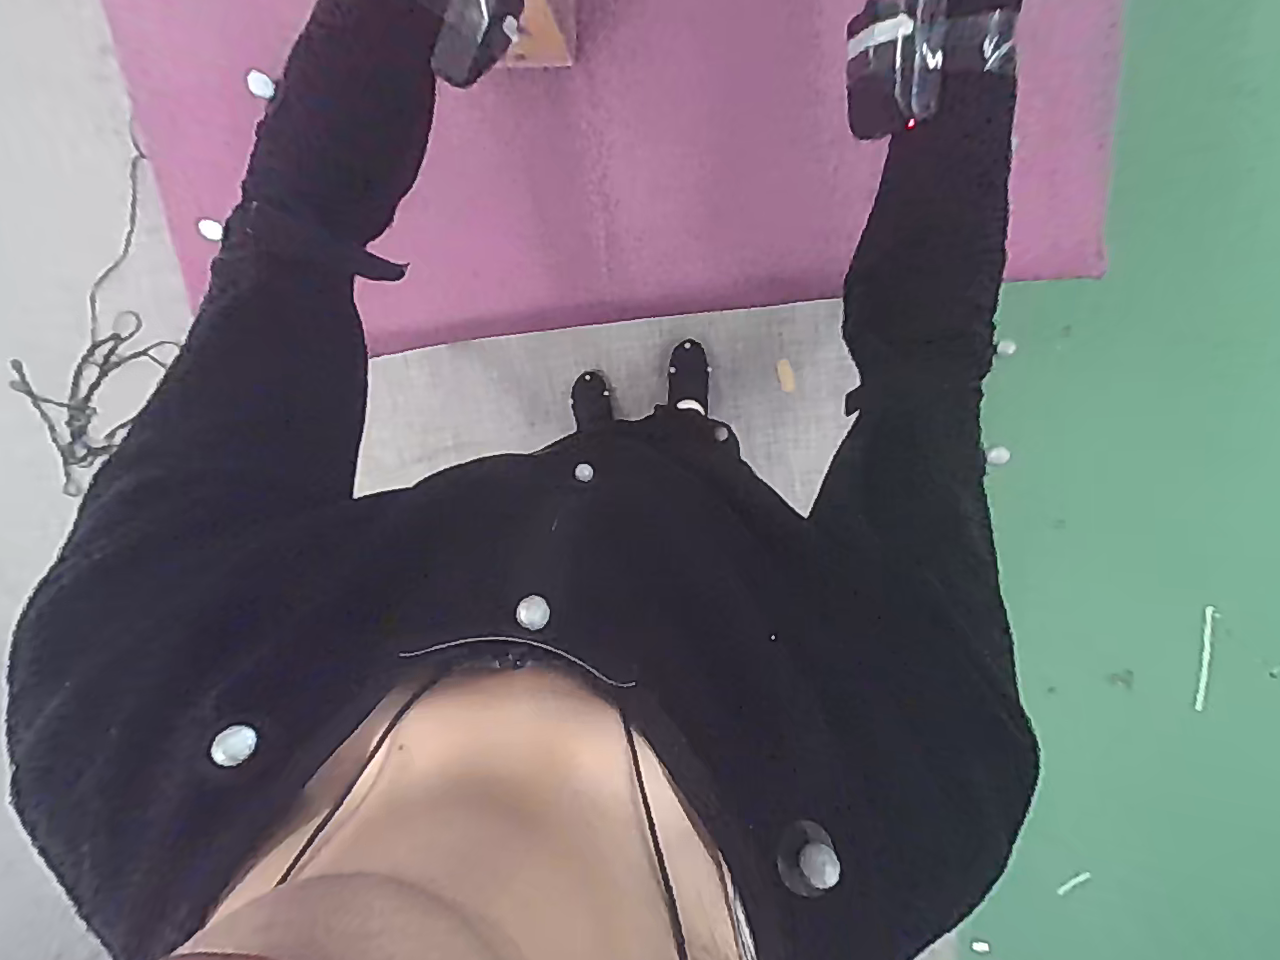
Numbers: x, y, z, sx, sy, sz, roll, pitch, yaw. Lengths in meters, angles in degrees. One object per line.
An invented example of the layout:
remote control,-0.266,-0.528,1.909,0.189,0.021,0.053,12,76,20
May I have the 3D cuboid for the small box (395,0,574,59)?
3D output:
small box,-0.164,-0.574,0.562,0.168,0.176,0.179,4,104,5
